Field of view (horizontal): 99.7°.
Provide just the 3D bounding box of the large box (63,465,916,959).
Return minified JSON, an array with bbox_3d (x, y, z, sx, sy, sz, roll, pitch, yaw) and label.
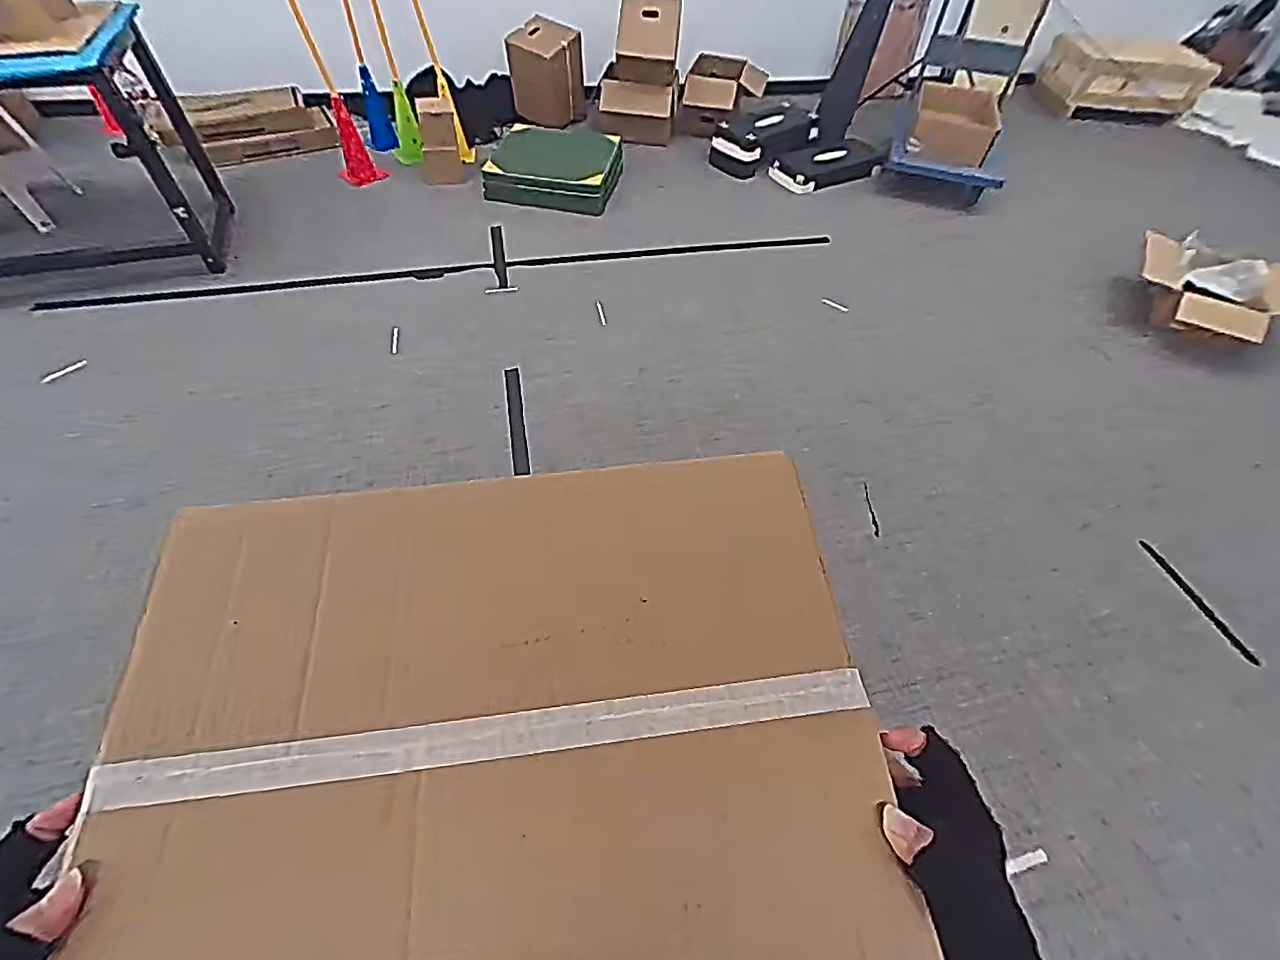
[{"bbox_3d":[-0.080,0.213,0.431,0.408,0.320,0.320,-6,61,-4],"label":"large box"}]
